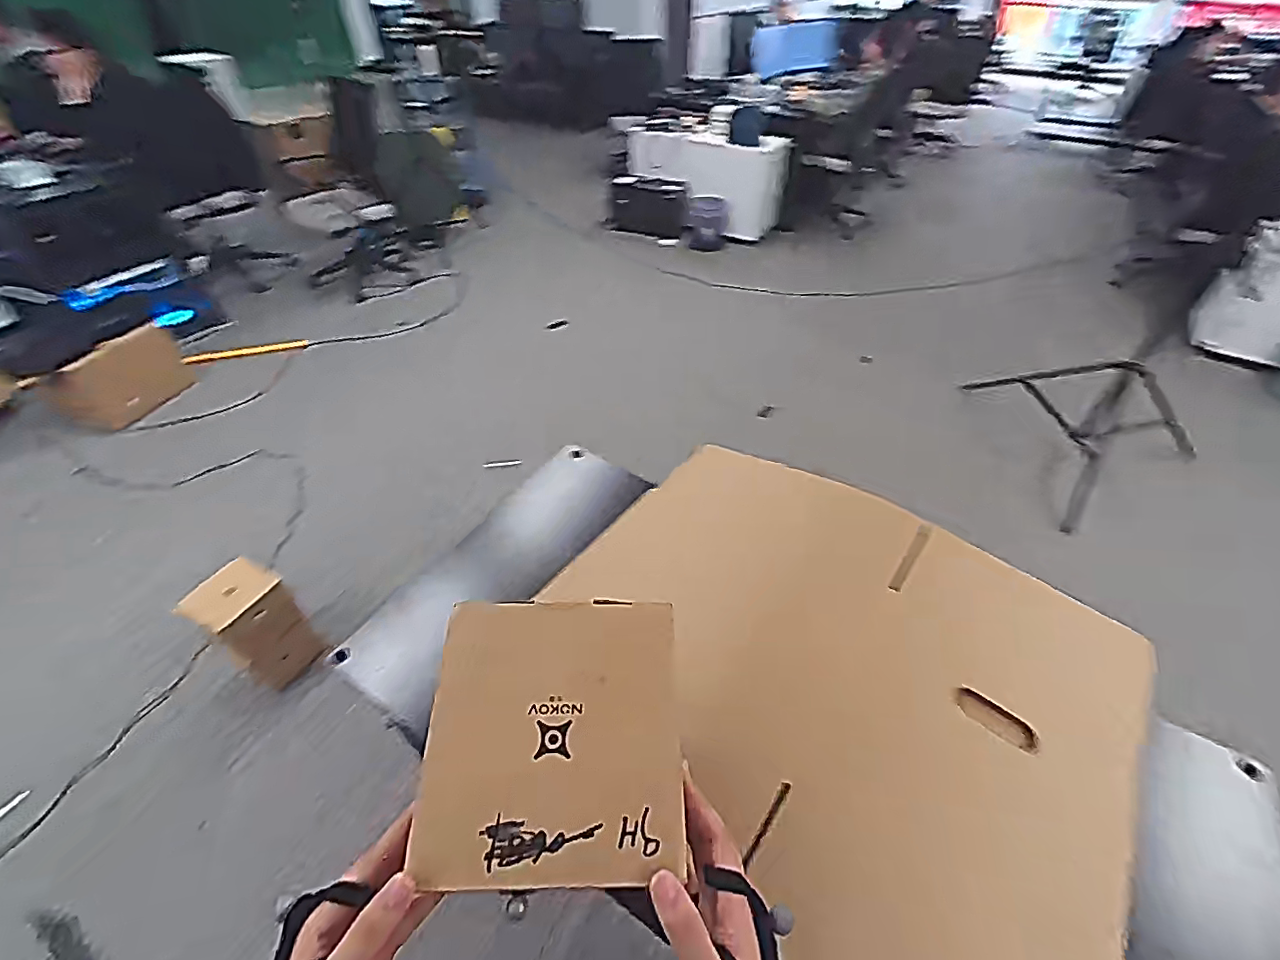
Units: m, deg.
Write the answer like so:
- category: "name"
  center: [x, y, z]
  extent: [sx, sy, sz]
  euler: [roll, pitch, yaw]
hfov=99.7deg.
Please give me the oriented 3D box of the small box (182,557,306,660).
- category: "small box"
  center: [-1.035, 0.343, 1.431]
  extent: [0.168, 0.176, 0.179]
  euler: [20, 46, 17]

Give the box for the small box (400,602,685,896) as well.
- category: "small box"
  center: [-0.062, 0.211, 0.421]
  extent: [0.168, 0.176, 0.179]
  euler: [0, 53, -3]

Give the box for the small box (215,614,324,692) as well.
- category: "small box"
  center: [-1.040, 0.464, 1.540]
  extent: [0.168, 0.176, 0.179]
  euler: [22, 48, 20]
